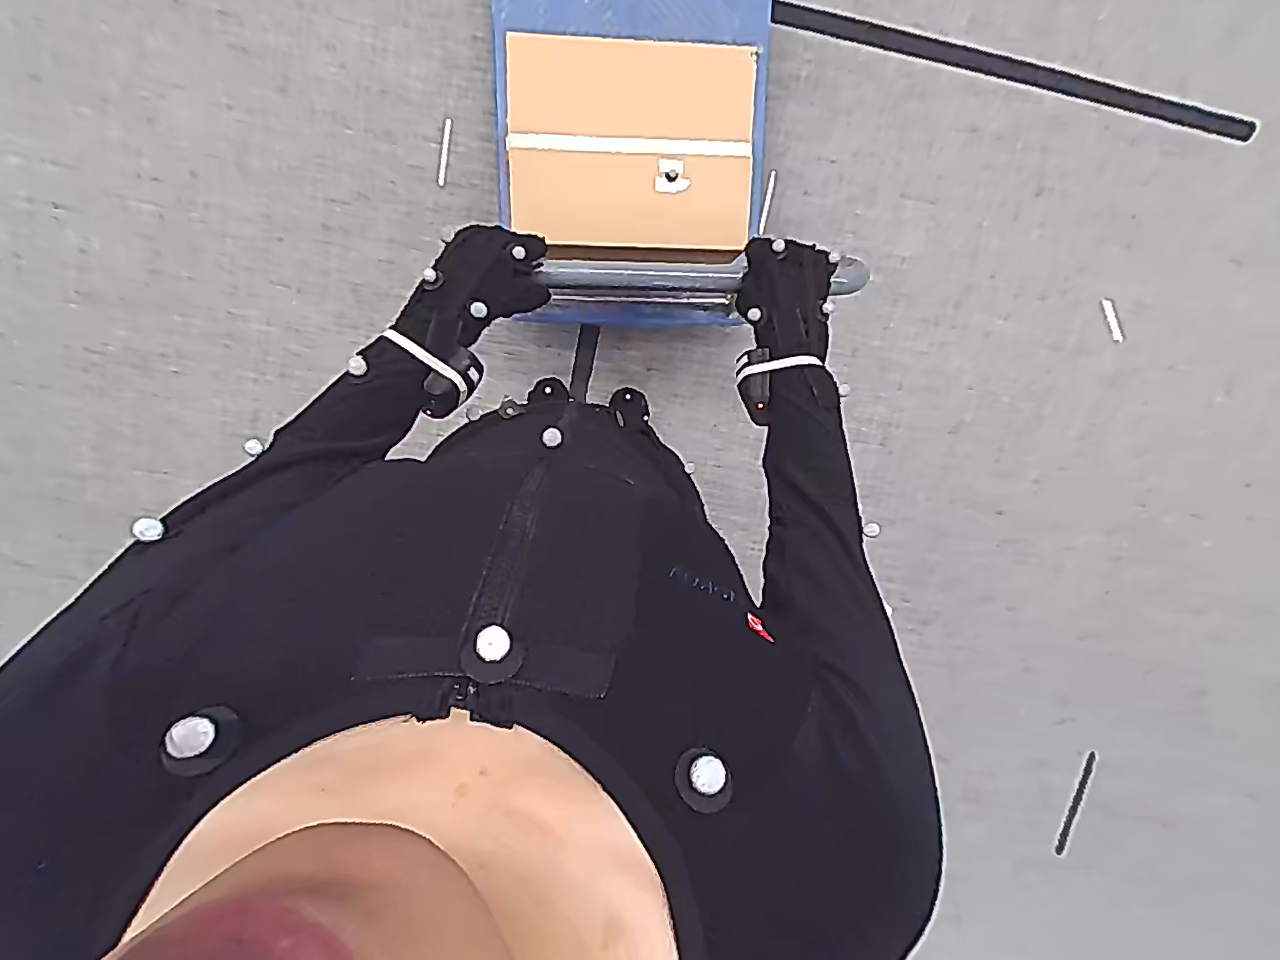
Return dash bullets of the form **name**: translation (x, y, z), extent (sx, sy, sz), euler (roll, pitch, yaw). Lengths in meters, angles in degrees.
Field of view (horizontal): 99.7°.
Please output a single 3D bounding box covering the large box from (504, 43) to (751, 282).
- **large box**: translation (-0.029, -0.569, 1.038), extent (0.408, 0.320, 0.320), euler (0, 102, -4)
